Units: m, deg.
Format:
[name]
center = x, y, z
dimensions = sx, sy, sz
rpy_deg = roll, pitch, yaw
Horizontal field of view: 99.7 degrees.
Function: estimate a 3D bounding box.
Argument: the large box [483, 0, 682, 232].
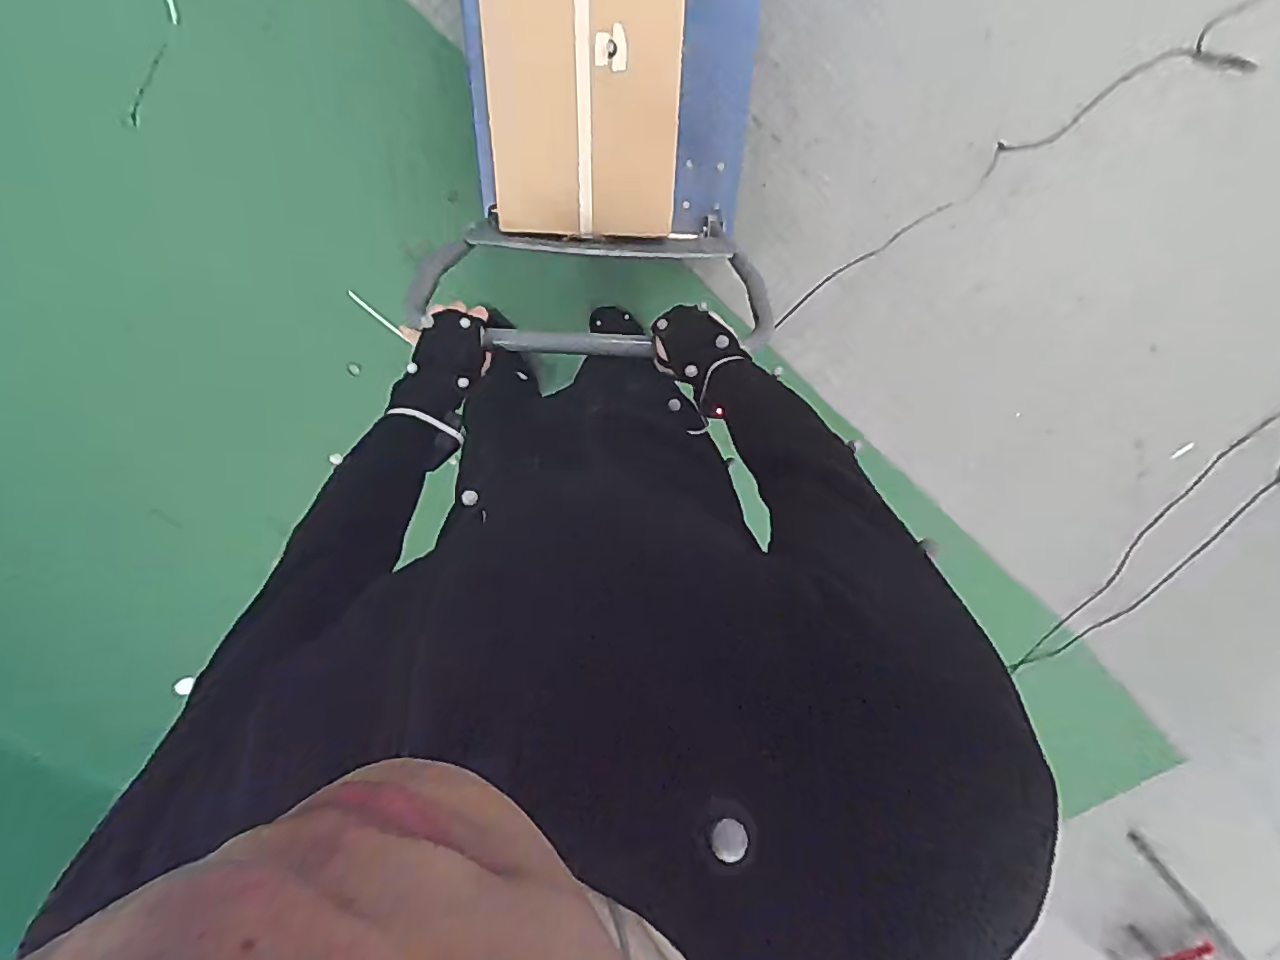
[large box]
center = -0.091, -0.701, 1.023
dimensions = 0.320, 0.320, 0.408
rpy_deg = 1, 119, -2
